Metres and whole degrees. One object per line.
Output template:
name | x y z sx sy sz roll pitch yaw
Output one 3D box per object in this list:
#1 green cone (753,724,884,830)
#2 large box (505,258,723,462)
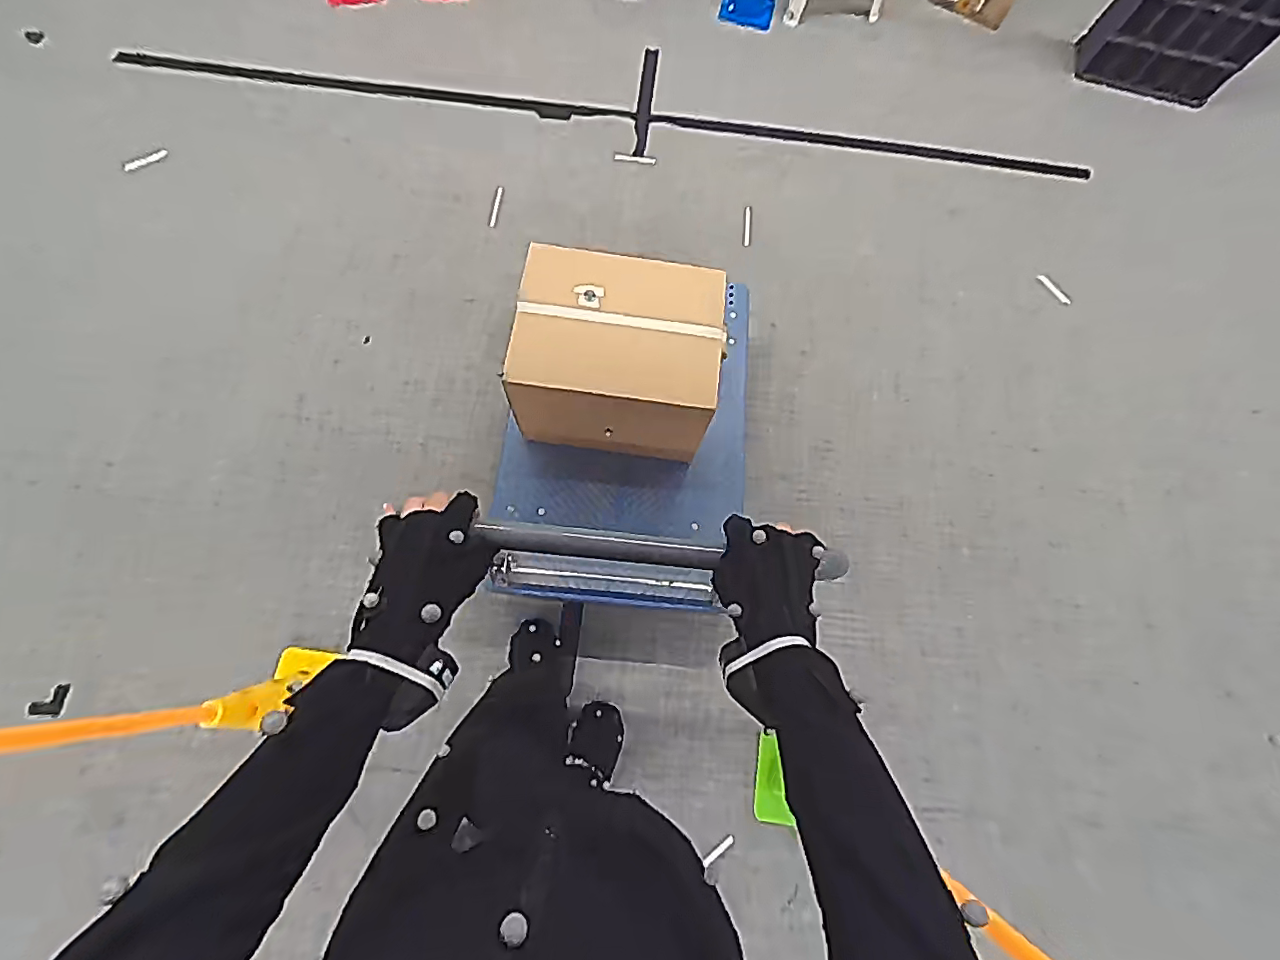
green cone | 0.381 0.637 1.098 0.202 0.368 0.200 11 72 -1
large box | -0.047 -0.246 1.205 0.408 0.320 0.320 8 73 -1
